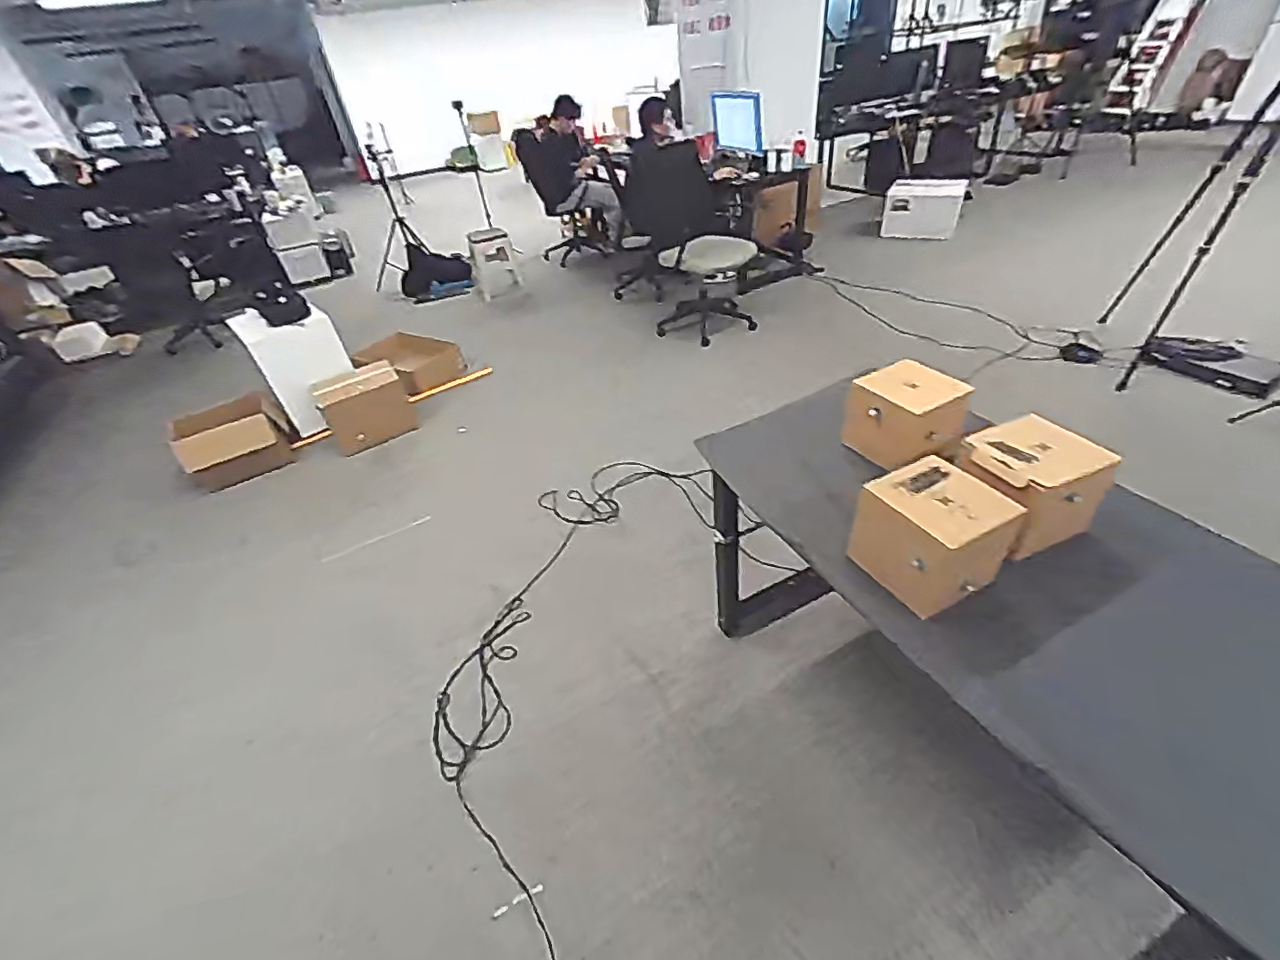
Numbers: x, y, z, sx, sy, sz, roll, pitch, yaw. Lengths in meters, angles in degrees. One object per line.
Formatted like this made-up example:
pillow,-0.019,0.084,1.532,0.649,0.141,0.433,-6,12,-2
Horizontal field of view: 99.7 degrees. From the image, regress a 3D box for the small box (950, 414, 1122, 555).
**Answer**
small box,0.696,0.009,0.978,0.179,0.176,0.168,-18,40,-14
